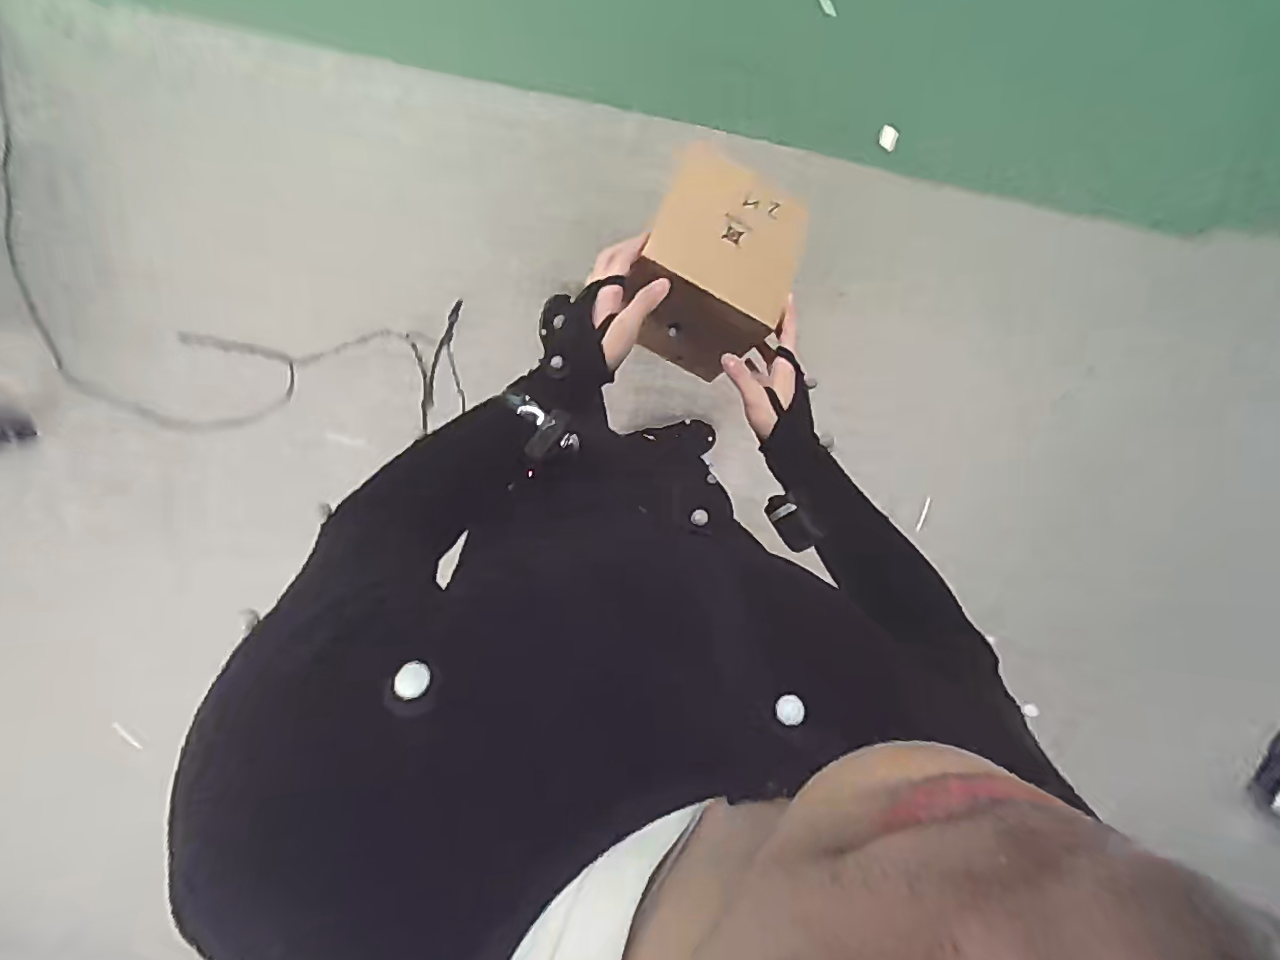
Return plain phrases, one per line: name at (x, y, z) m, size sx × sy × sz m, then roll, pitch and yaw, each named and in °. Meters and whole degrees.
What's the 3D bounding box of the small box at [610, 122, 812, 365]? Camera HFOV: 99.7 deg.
small box at (0.074, -0.268, 0.657) m, size 0.168 × 0.176 × 0.179 m, roll 24°, pitch 74°, yaw -10°
